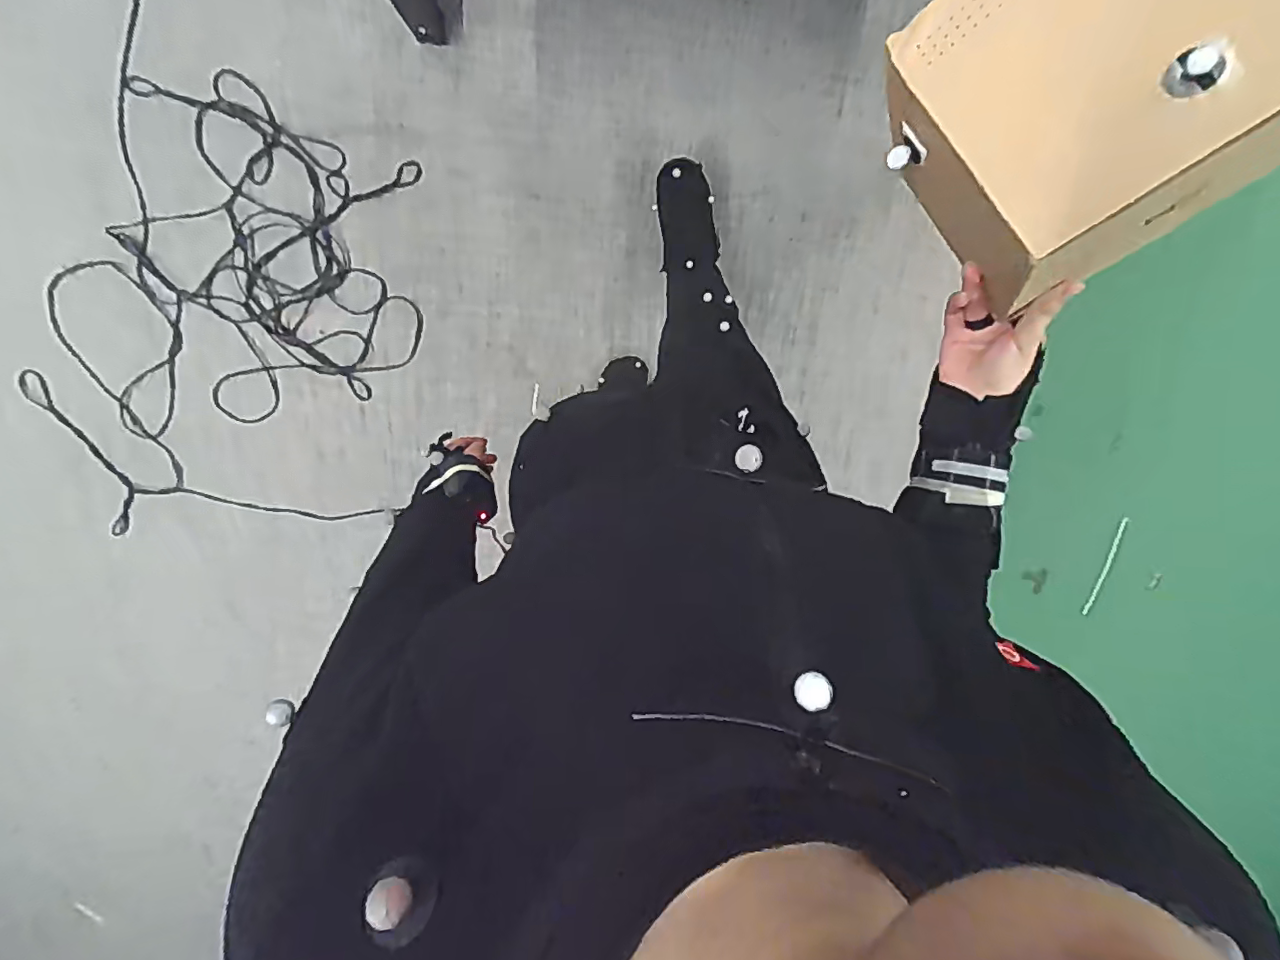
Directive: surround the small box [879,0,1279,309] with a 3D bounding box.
[{"bbox_3d":[0.278,-0.242,0.333,0.179,0.168,0.176,-32,77,27],"label":"small box"}]
